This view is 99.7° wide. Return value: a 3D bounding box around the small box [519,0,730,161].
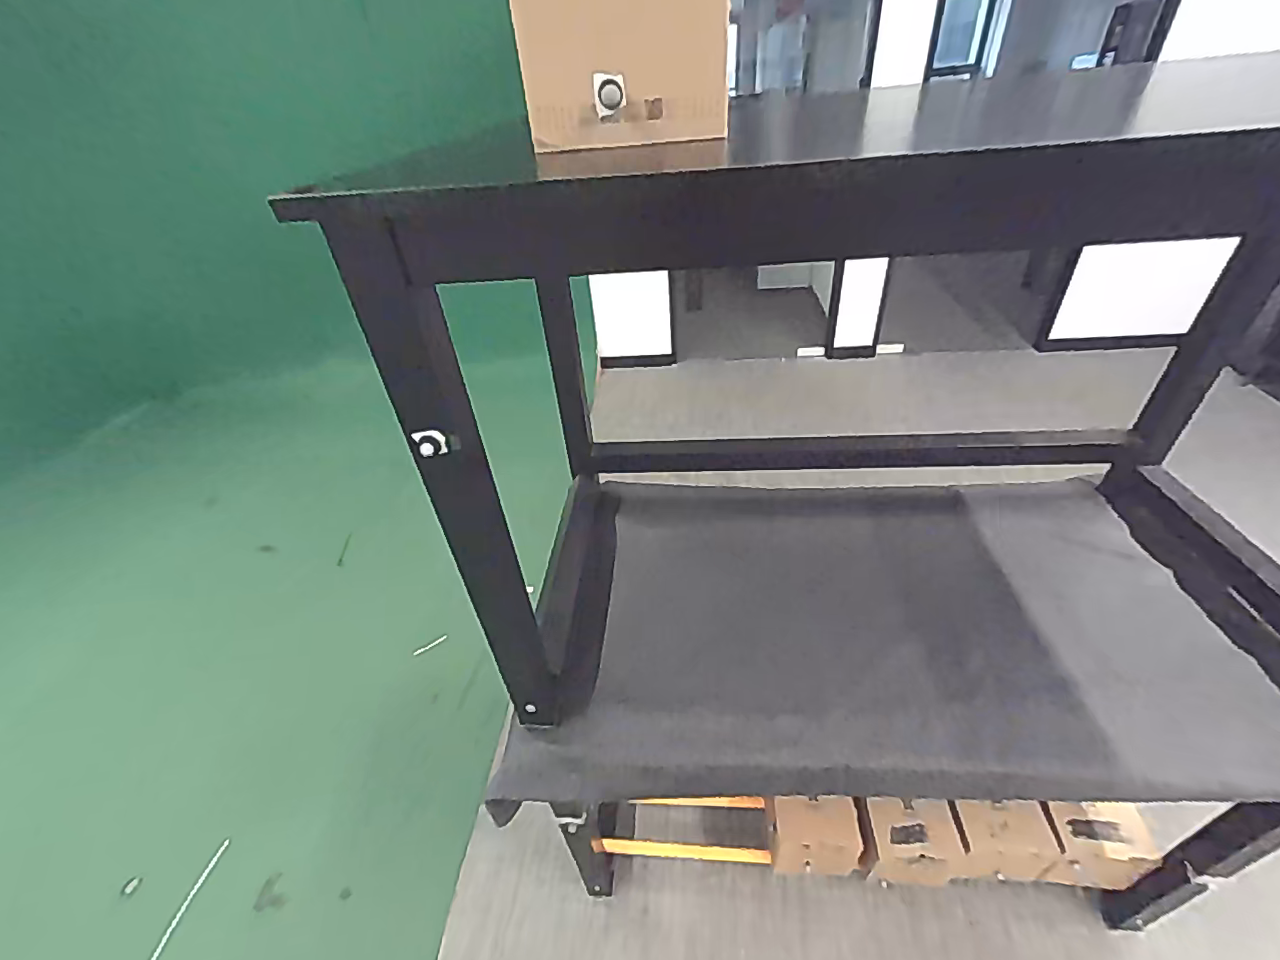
[{"bbox_3d":[-0.011,-0.397,0.488,0.168,0.176,0.179,-4,38,4],"label":"small box"}]
